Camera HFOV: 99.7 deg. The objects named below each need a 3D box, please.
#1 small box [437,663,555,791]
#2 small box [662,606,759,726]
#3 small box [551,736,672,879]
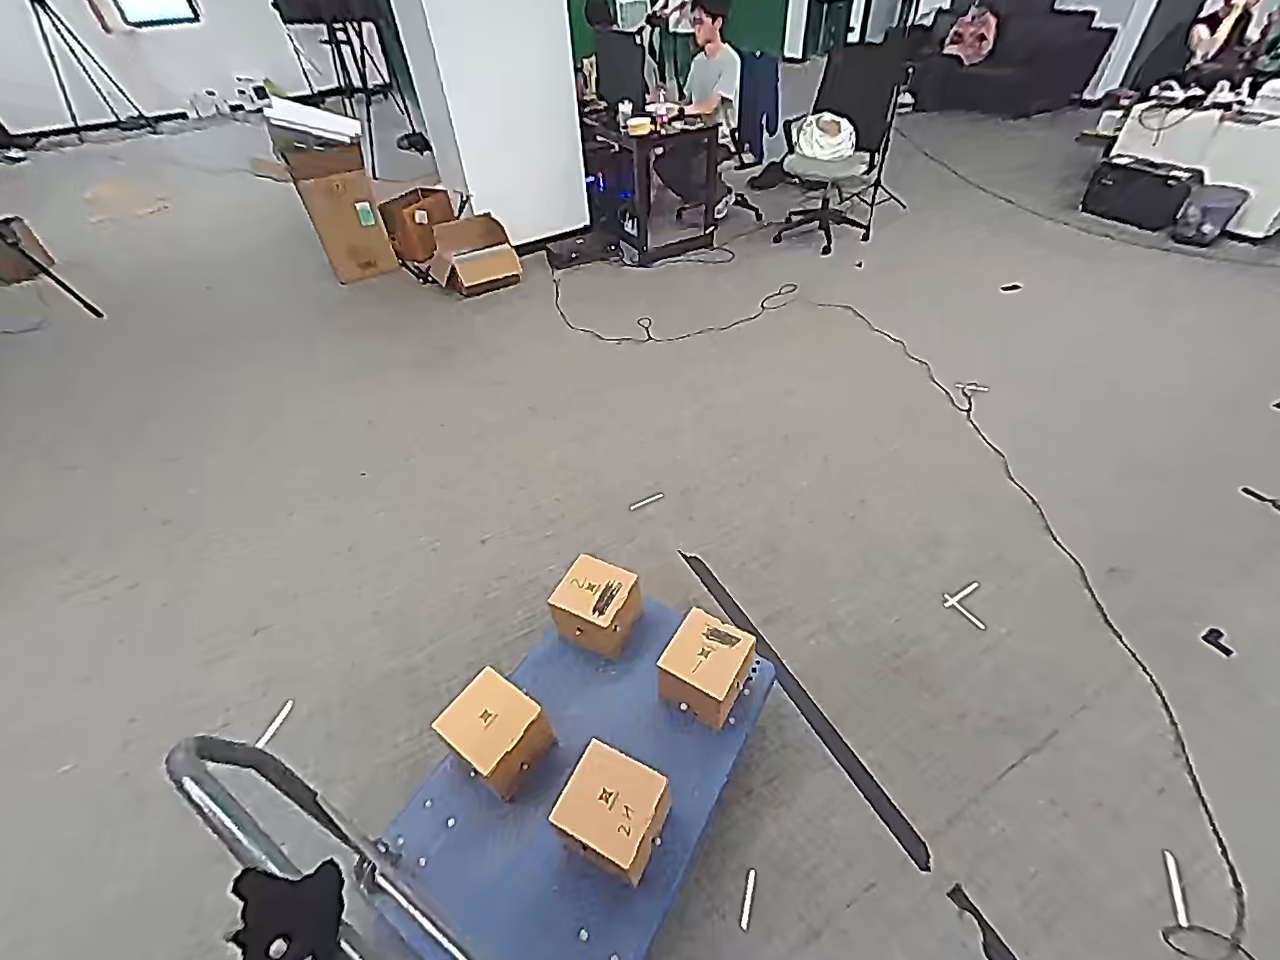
[{"bbox_3d":[-0.312,0.551,1.201,0.179,0.176,0.168,26,52,26],"label":"small box"},{"bbox_3d":[0.163,0.438,1.275,0.168,0.176,0.179,23,52,25],"label":"small box"},{"bbox_3d":[-0.049,0.653,1.075,0.179,0.176,0.168,19,49,22],"label":"small box"}]
